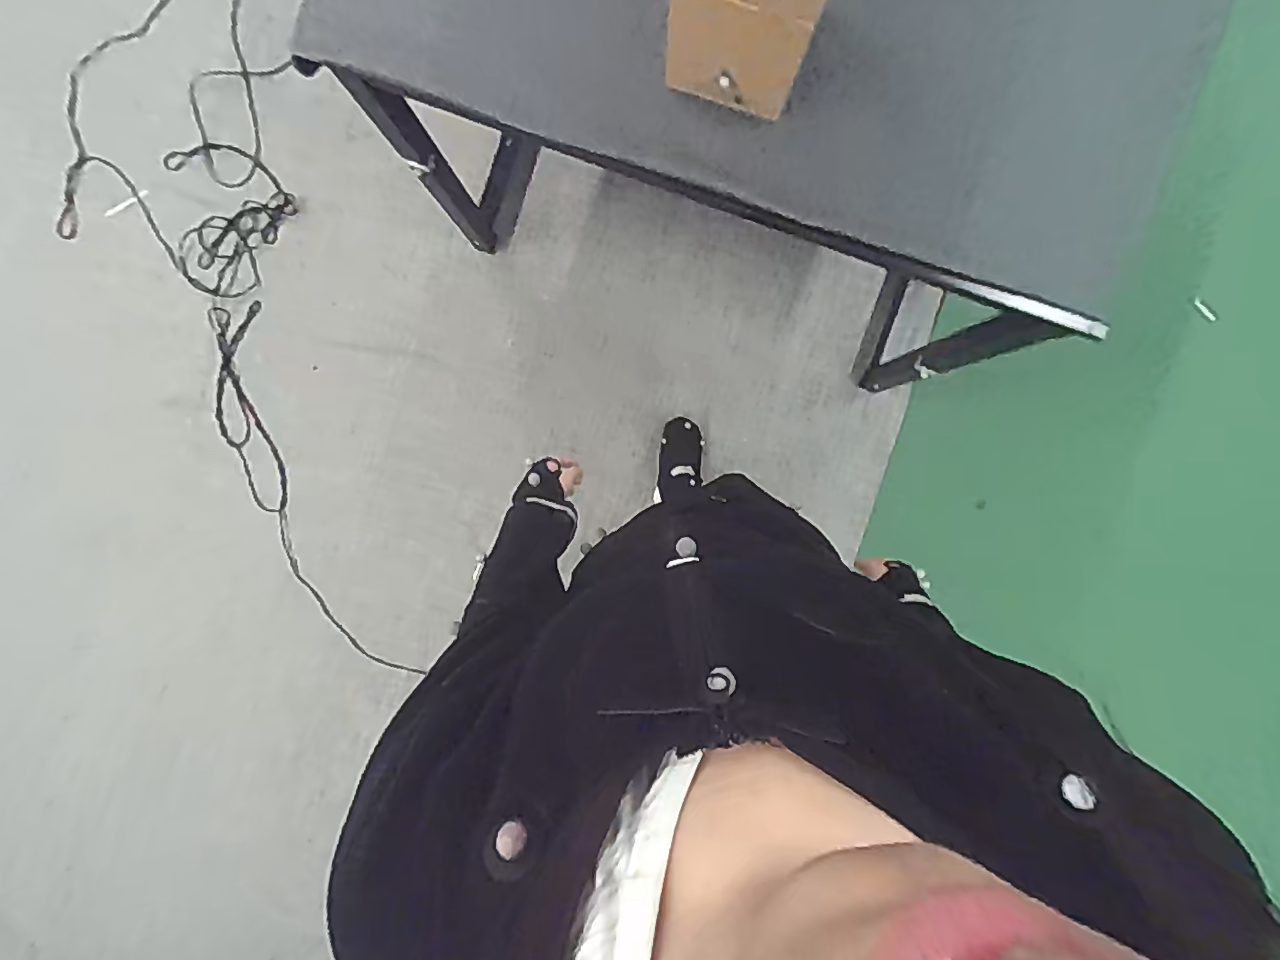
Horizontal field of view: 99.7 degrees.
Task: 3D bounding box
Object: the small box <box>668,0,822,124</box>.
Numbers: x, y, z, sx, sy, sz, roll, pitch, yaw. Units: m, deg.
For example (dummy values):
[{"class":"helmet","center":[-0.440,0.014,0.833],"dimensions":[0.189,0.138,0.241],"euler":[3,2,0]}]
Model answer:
[{"class":"small box","center":[0.136,-0.597,0.671],"dimensions":[0.168,0.176,0.179],"euler":[18,91,0]}]
